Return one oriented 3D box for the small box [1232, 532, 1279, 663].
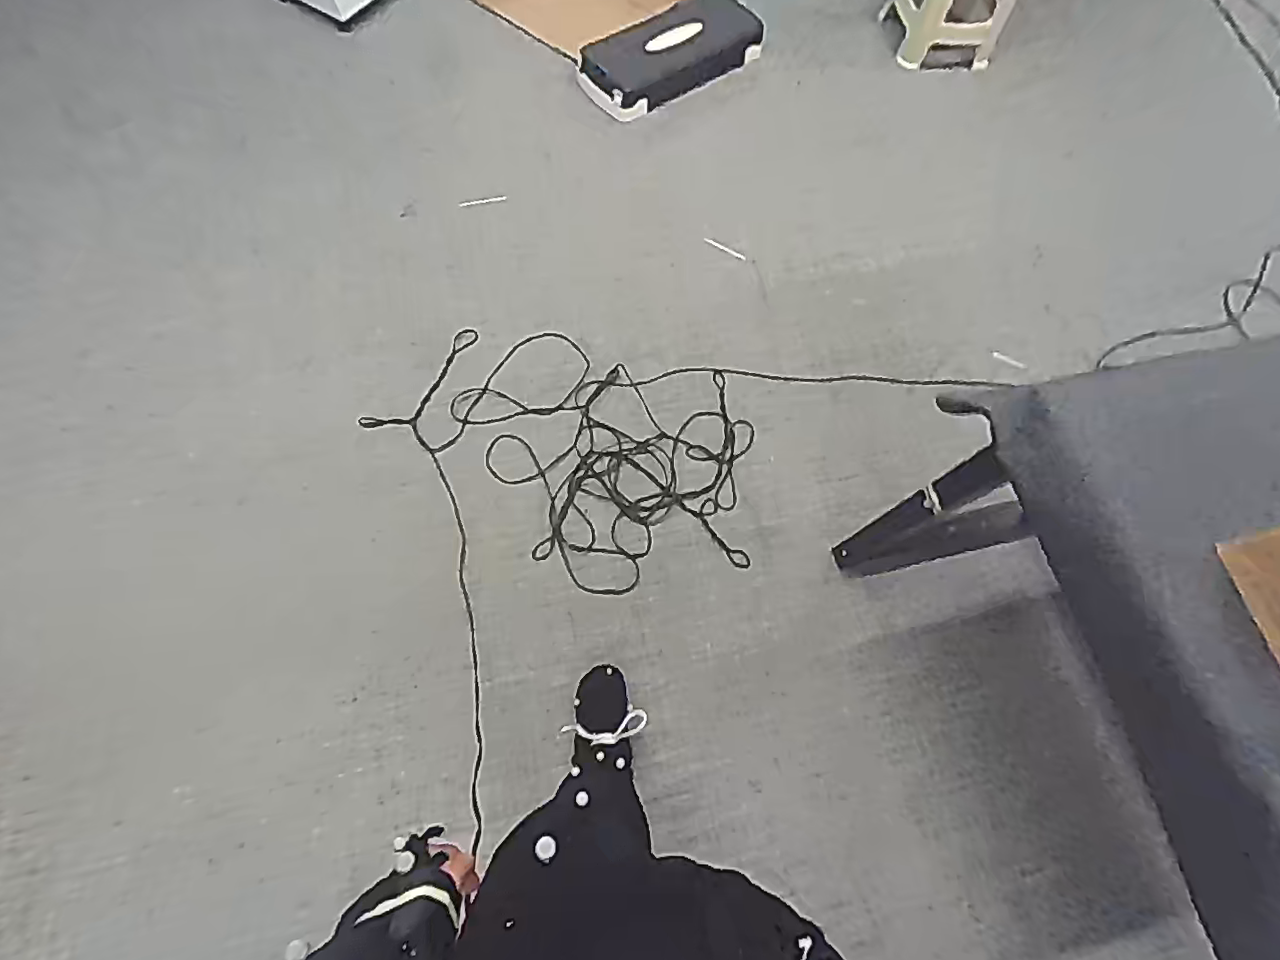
[{"bbox_3d":[0.721,0.107,0.495,0.179,0.176,0.168,-8,69,-8],"label":"small box"}]
